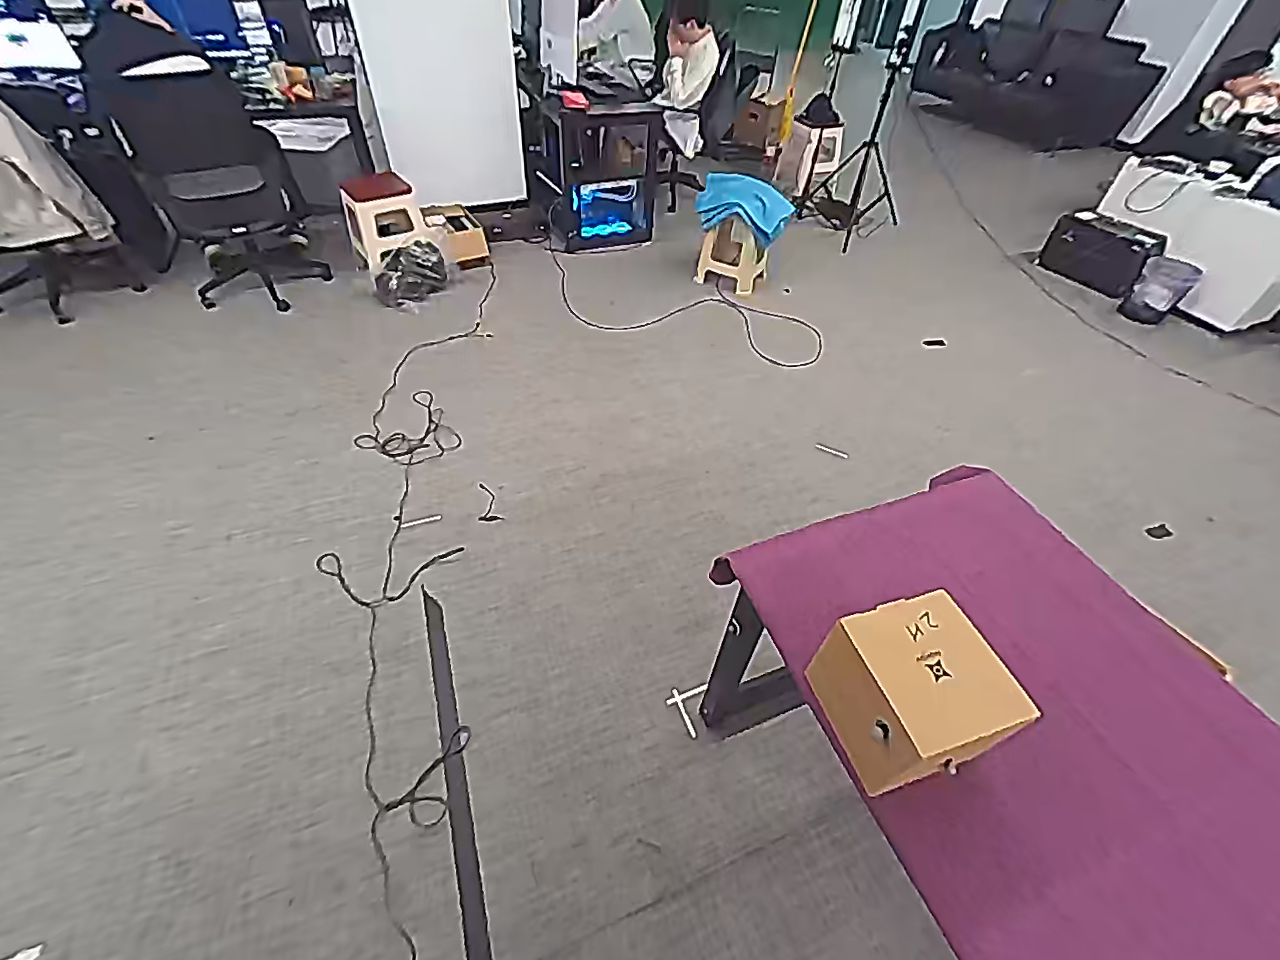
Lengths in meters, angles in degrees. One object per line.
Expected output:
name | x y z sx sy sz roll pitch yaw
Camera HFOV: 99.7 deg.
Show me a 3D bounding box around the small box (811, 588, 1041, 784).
small box | 0.354 0.274 0.708 0.168 0.176 0.179 -11 48 -14
